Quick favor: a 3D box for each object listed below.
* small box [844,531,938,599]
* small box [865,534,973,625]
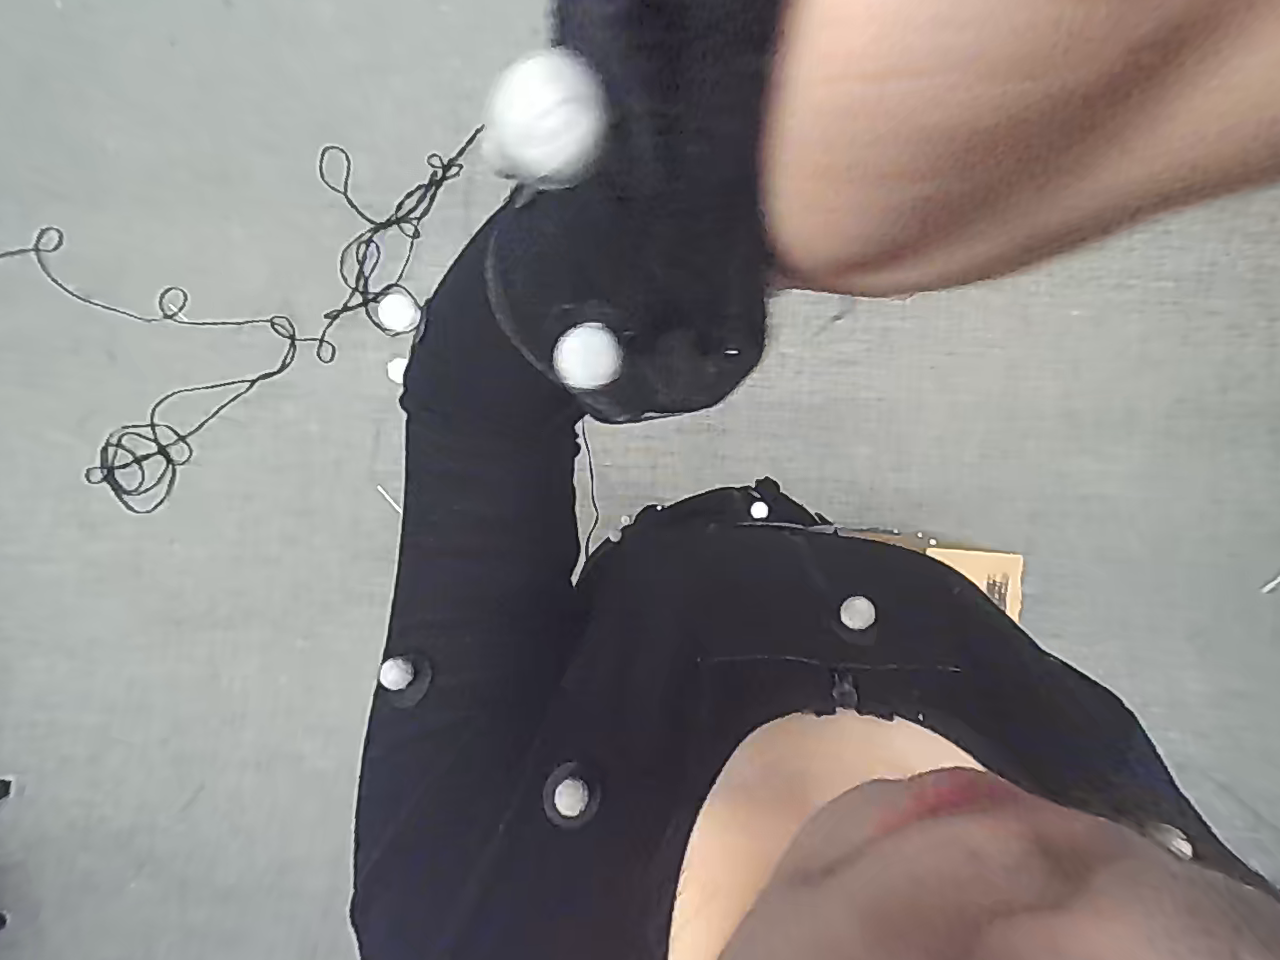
[{"bbox_3d":[0.644,0.223,1.400,0.179,0.176,0.168,4,88,2],"label":"small box"},{"bbox_3d":[0.629,0.220,1.236,0.168,0.176,0.179,4,89,4],"label":"small box"}]
